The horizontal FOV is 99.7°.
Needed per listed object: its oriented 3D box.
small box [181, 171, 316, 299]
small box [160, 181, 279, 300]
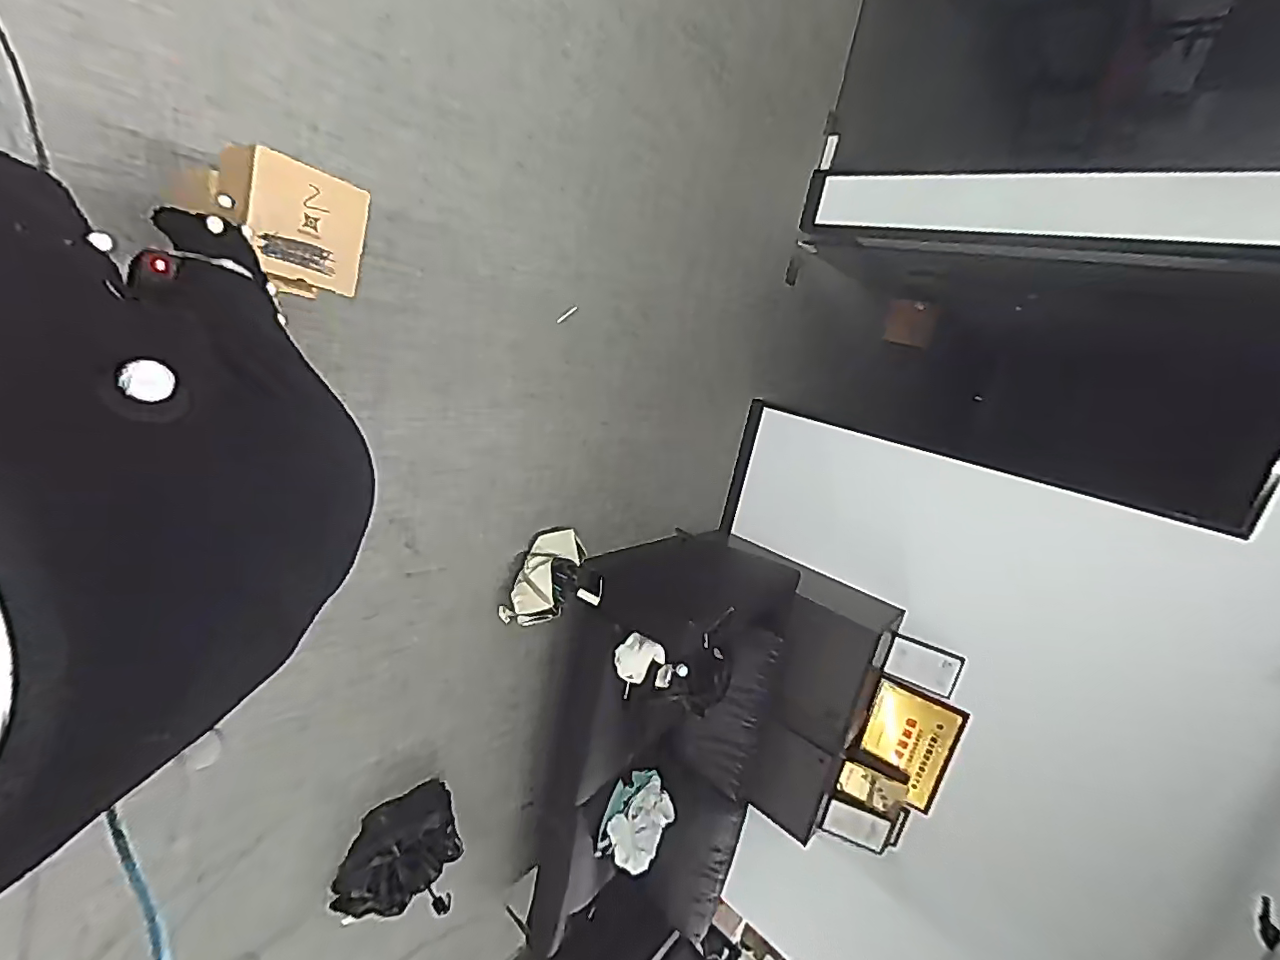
[{"bbox_3d":[-0.722,-0.448,0.996,0.168,0.176,0.179,-7,115,-50],"label":"small box"},{"bbox_3d":[-0.847,-0.484,1.098,0.168,0.176,0.179,-3,112,-52],"label":"small box"}]
